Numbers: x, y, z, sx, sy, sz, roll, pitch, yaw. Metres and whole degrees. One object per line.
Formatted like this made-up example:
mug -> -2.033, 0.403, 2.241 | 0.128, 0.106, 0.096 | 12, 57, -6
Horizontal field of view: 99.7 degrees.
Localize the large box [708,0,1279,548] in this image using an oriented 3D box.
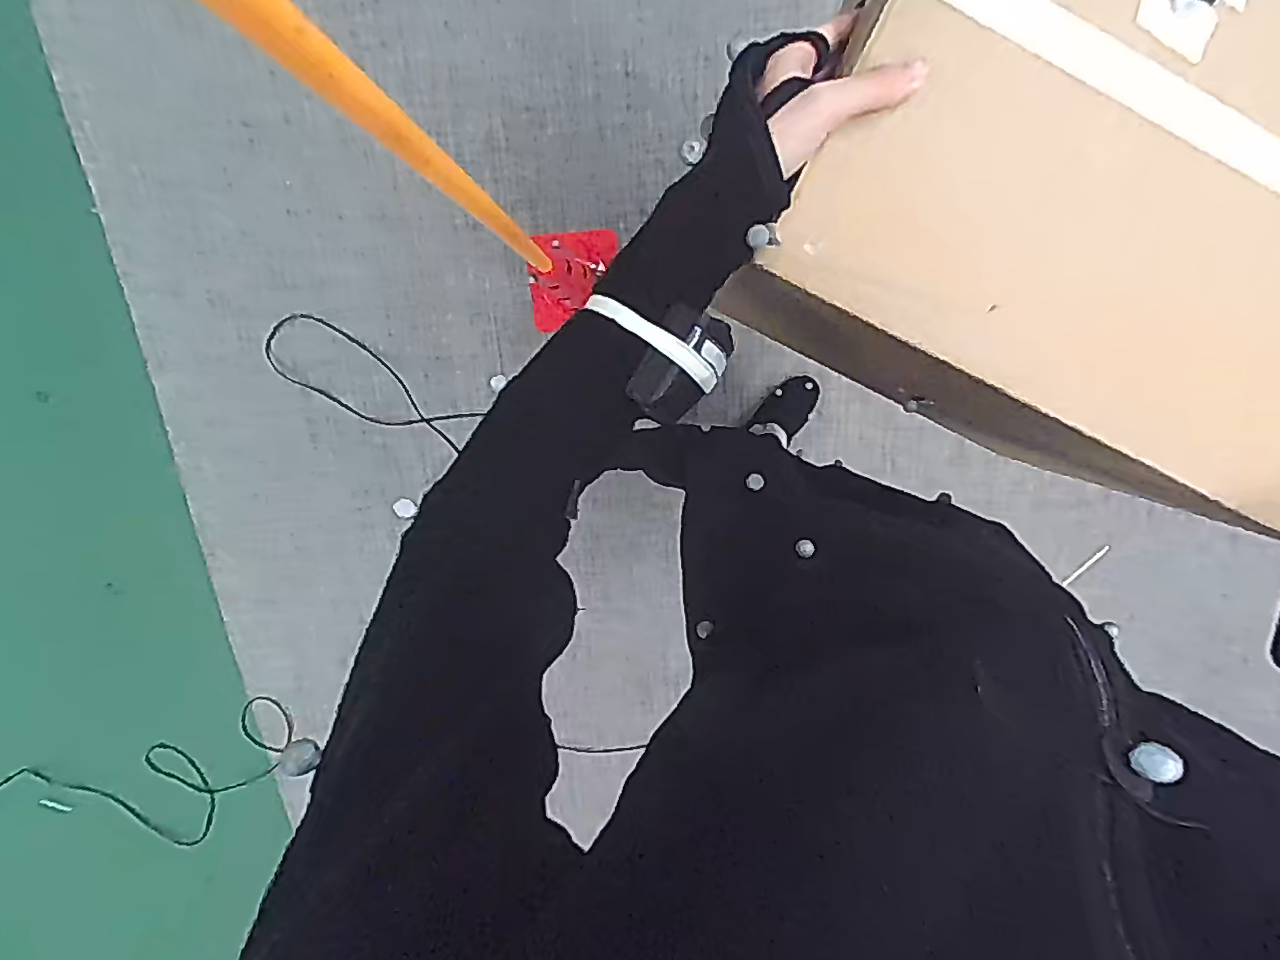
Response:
large box -> 0.310, -0.202, 0.448 | 0.408, 0.320, 0.320 | 25, 103, -4
